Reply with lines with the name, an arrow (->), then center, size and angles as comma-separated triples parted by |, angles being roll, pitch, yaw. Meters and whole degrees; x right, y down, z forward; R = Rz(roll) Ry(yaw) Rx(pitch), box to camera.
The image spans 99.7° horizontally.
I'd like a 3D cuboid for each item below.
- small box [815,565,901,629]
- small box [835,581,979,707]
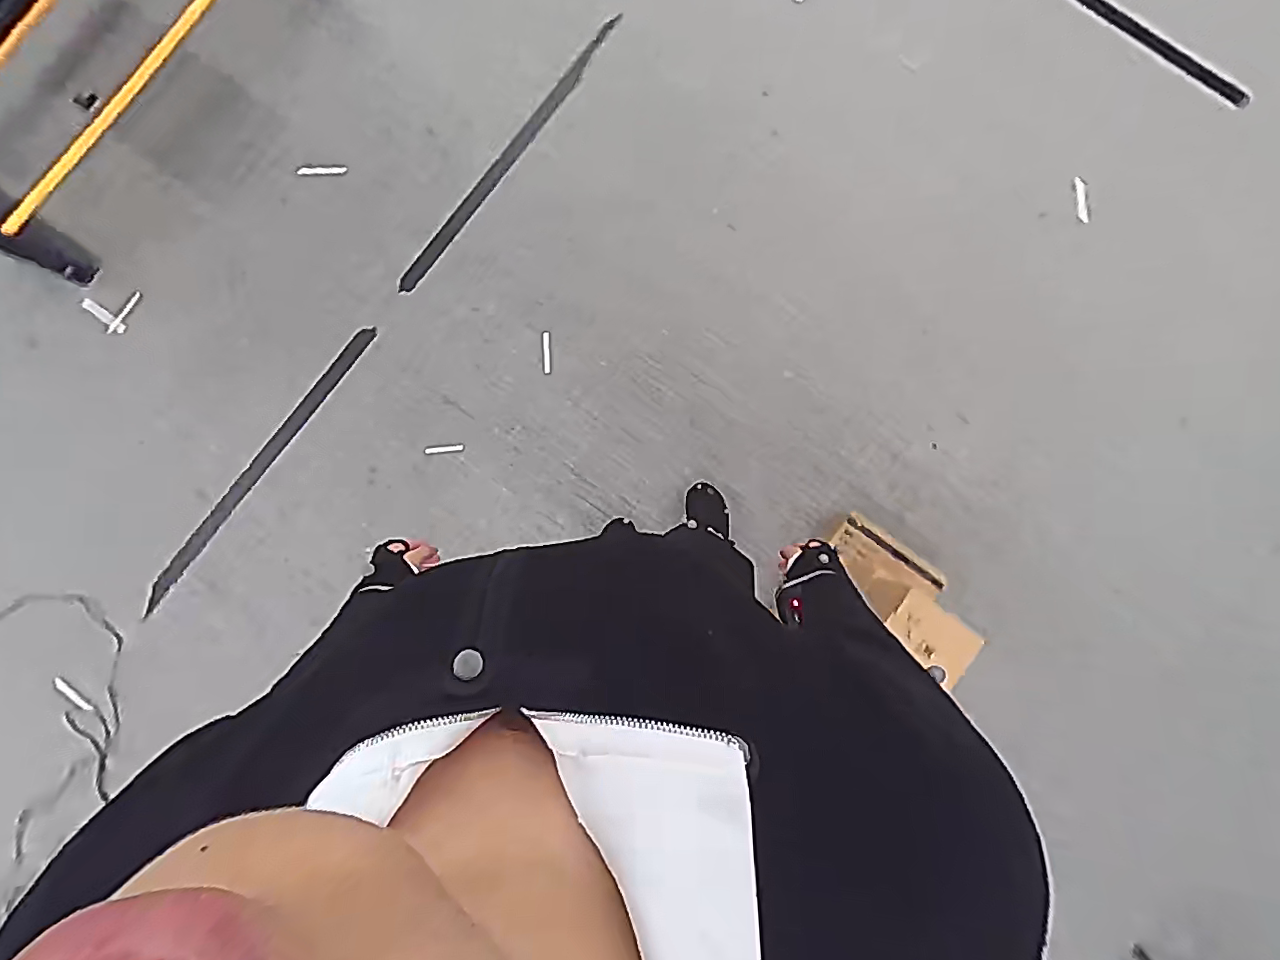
small box -> 0.555, 0.319, 1.298 | 0.179, 0.176, 0.168 | 35, 88, 3
small box -> 0.547, 0.330, 1.132 | 0.179, 0.176, 0.168 | 37, 88, 3
